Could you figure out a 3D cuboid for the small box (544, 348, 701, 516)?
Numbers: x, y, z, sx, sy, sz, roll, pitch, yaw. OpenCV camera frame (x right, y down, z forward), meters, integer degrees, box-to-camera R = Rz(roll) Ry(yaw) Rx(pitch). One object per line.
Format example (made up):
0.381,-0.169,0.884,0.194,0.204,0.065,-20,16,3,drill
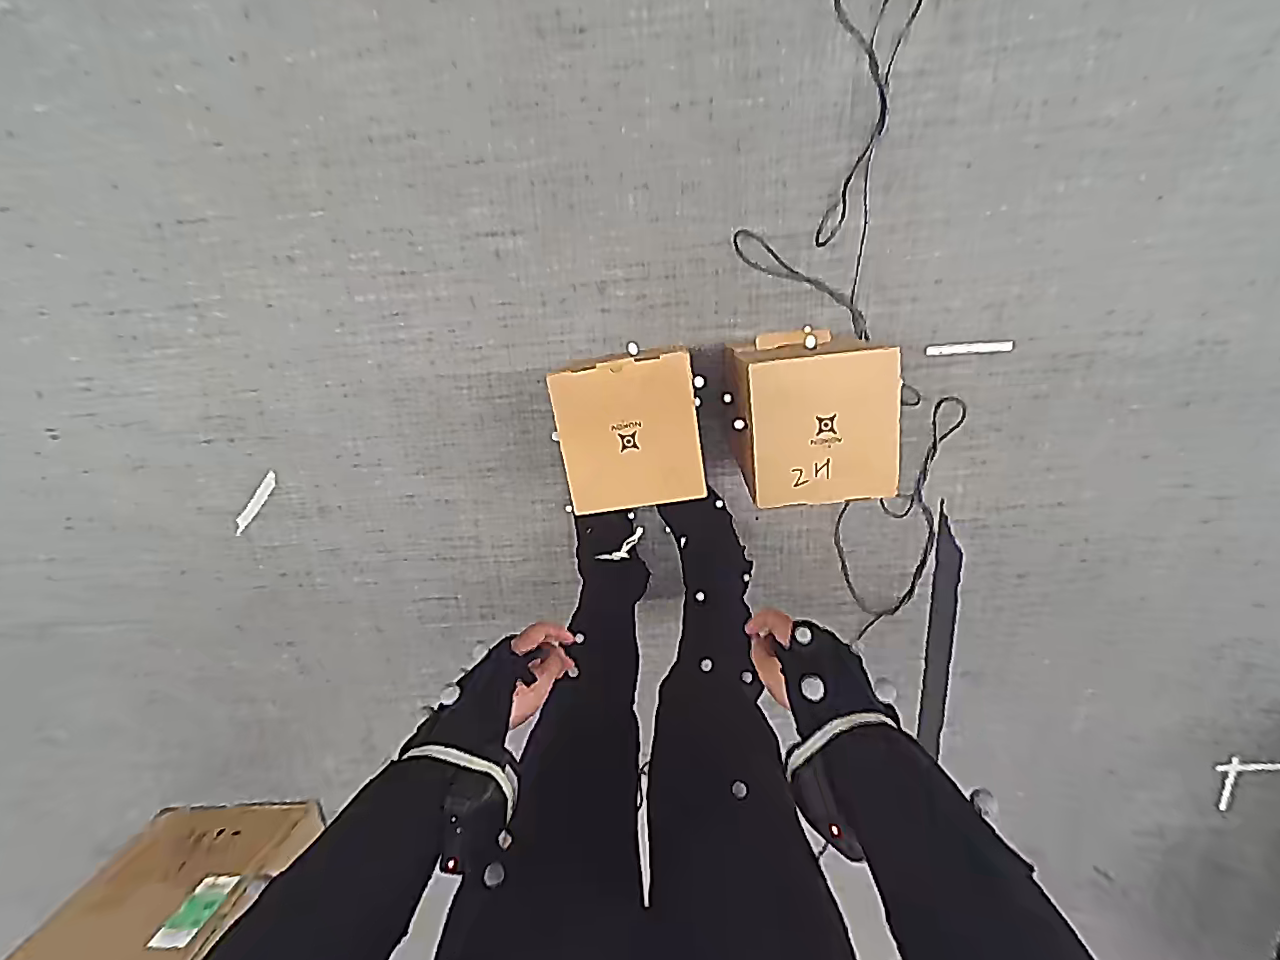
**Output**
-0.012,-0.070,0.711,0.168,0.176,0.179,-8,105,6,small box

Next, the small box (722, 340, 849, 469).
0.219,-0.126,0.850,0.168,0.176,0.179,-4,108,5,small box

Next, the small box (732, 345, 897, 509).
0.211,-0.077,0.692,0.168,0.176,0.179,-5,107,6,small box
